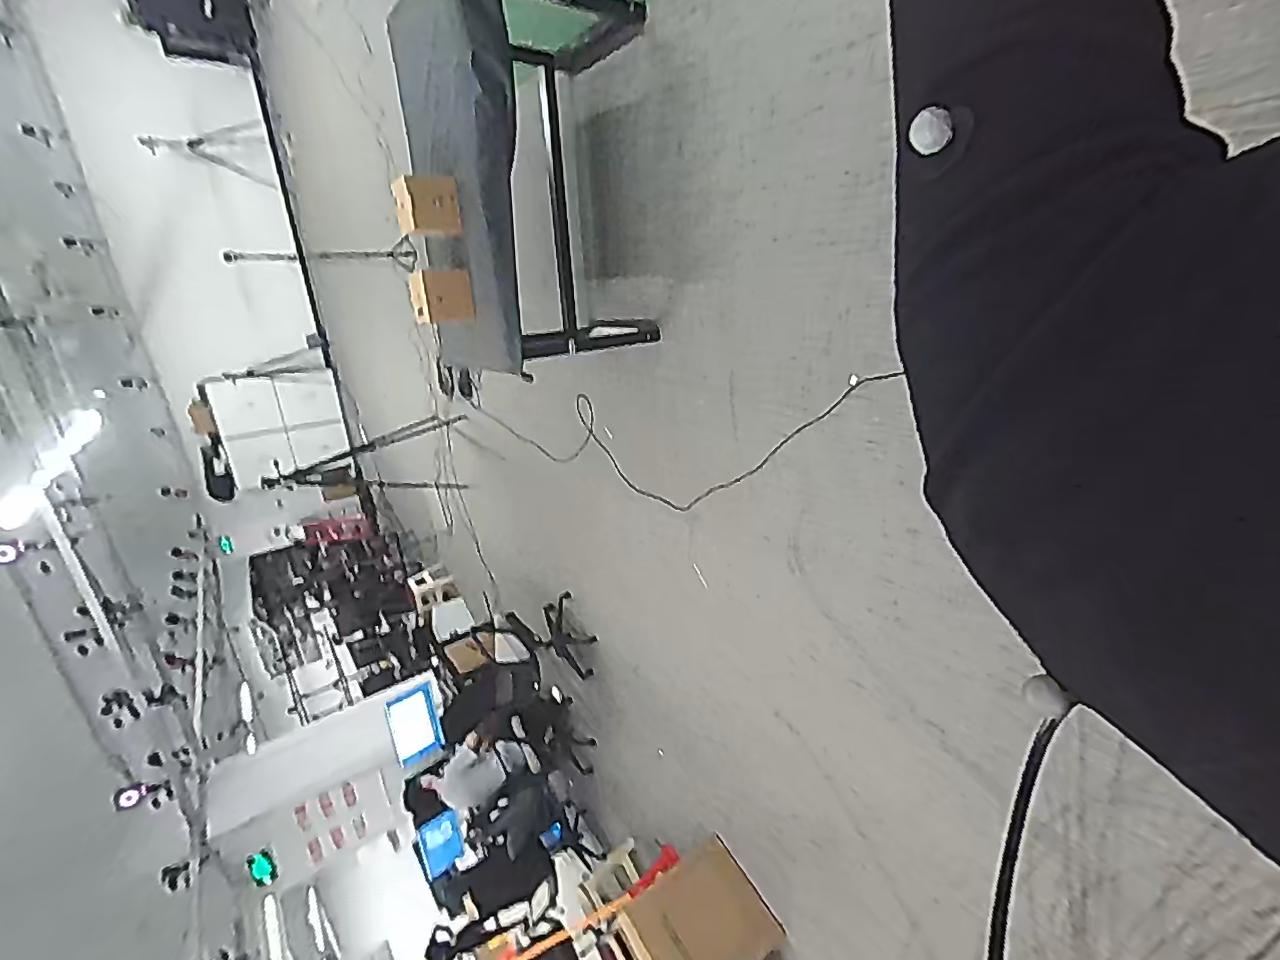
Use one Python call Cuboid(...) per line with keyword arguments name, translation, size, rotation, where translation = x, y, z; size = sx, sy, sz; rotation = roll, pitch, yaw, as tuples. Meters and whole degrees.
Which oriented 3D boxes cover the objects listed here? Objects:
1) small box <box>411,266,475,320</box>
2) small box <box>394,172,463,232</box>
Cuboid(name="small box", translation=(-0.711, -0.679, 1.965), size=(0.168, 0.176, 0.179), rotation=(19, 119, 50))
Cuboid(name="small box", translation=(-0.722, -0.953, 1.862), size=(0.179, 0.176, 0.168), rotation=(22, 121, 49))
